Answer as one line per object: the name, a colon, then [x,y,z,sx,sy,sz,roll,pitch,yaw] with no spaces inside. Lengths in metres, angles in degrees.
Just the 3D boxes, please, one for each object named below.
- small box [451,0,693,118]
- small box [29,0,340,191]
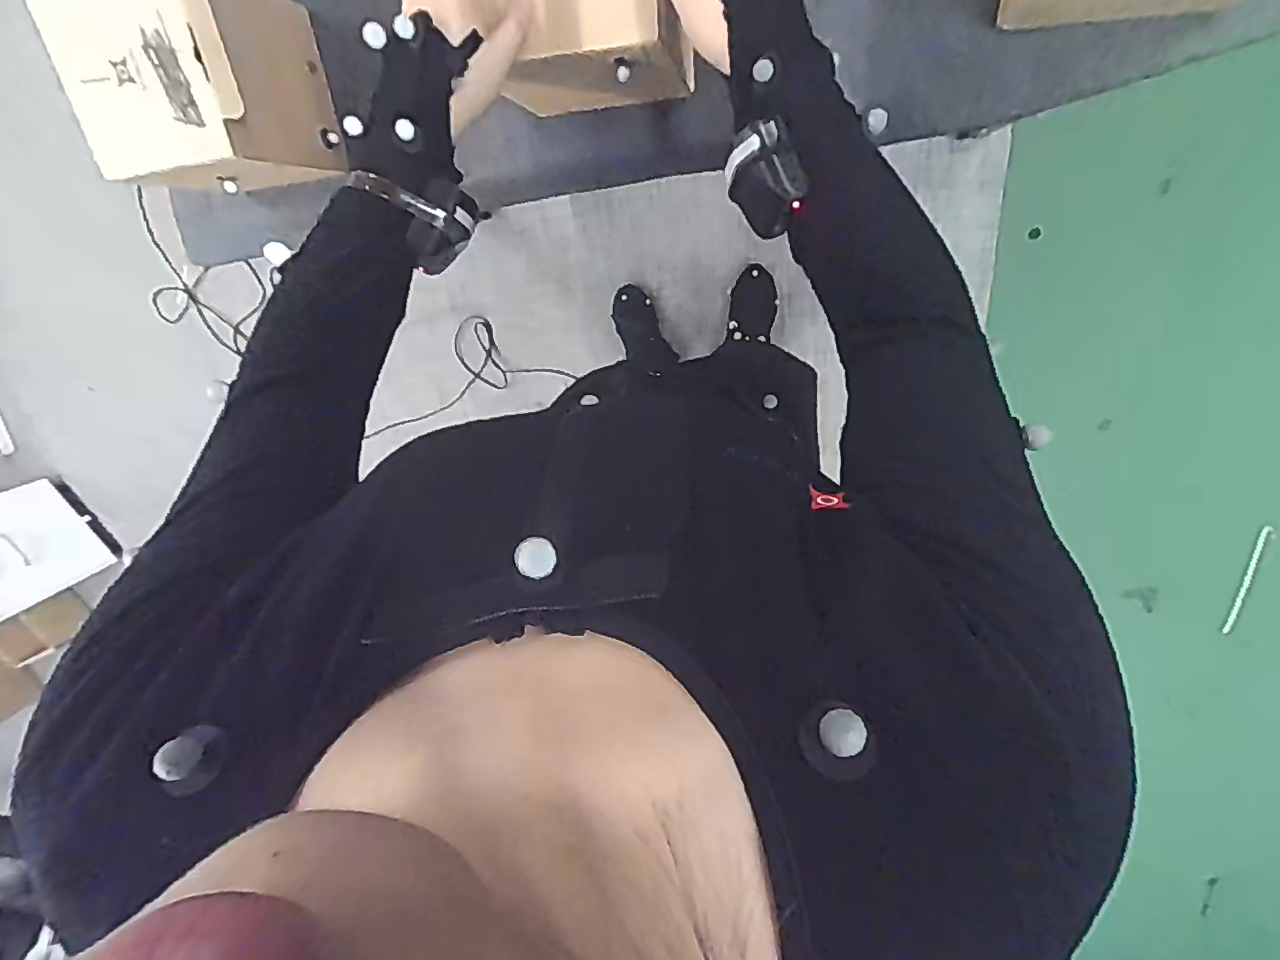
small box: [-0.052,-0.441,0.479,0.179,0.176,0.168,1,113,13]
small box: [-0.462,-0.417,0.586,0.179,0.176,0.168,0,114,14]
